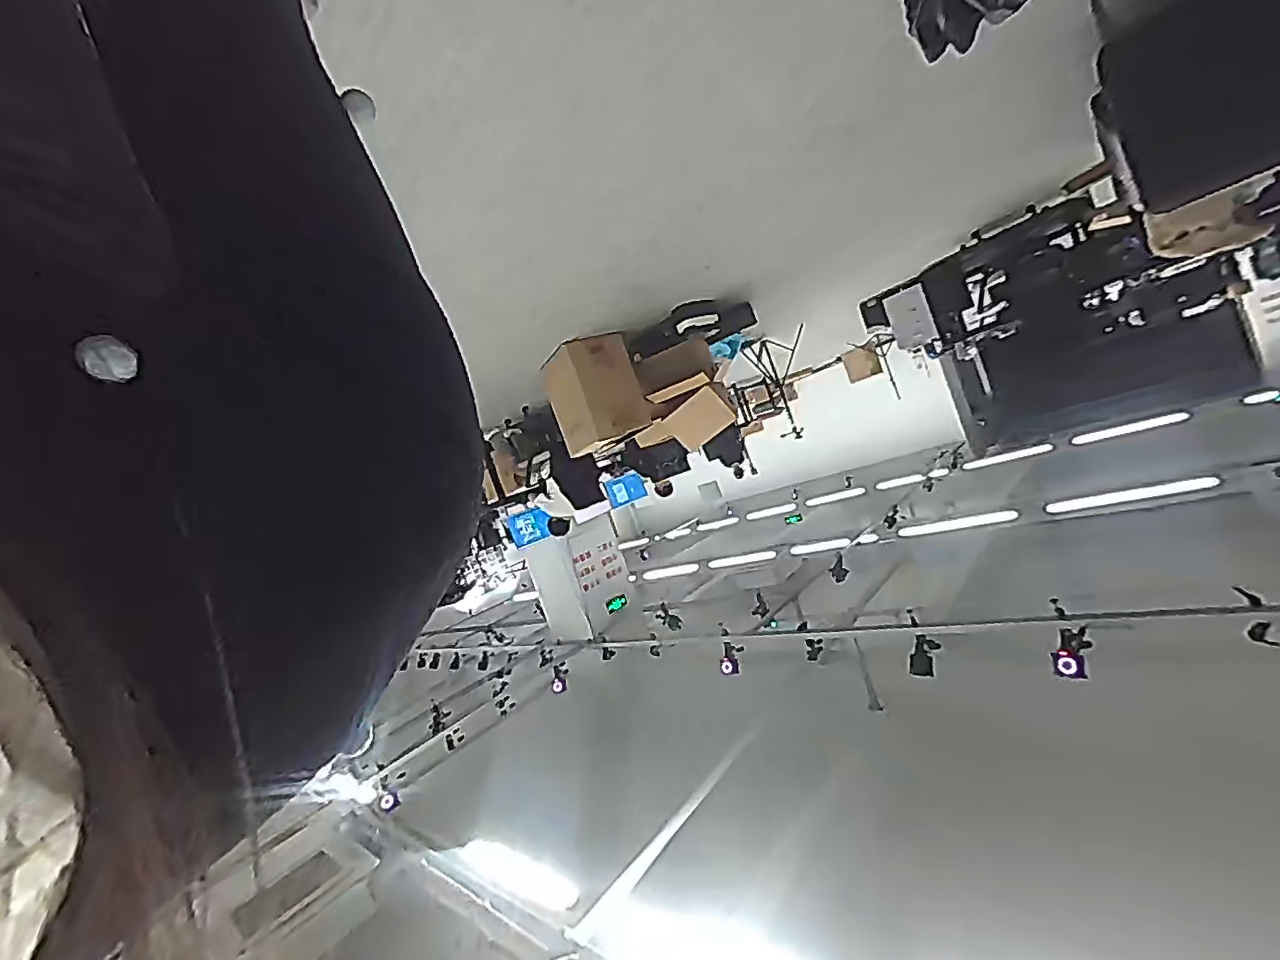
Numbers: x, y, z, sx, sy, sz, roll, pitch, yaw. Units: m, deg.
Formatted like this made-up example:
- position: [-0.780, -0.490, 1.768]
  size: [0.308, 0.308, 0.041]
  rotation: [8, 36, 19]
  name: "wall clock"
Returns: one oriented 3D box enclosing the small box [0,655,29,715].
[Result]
- position: [-2.094, 0.675, 1.714]
  size: [0.168, 0.176, 0.179]
  rotation: [-17, -178, 40]
  name: "small box"
